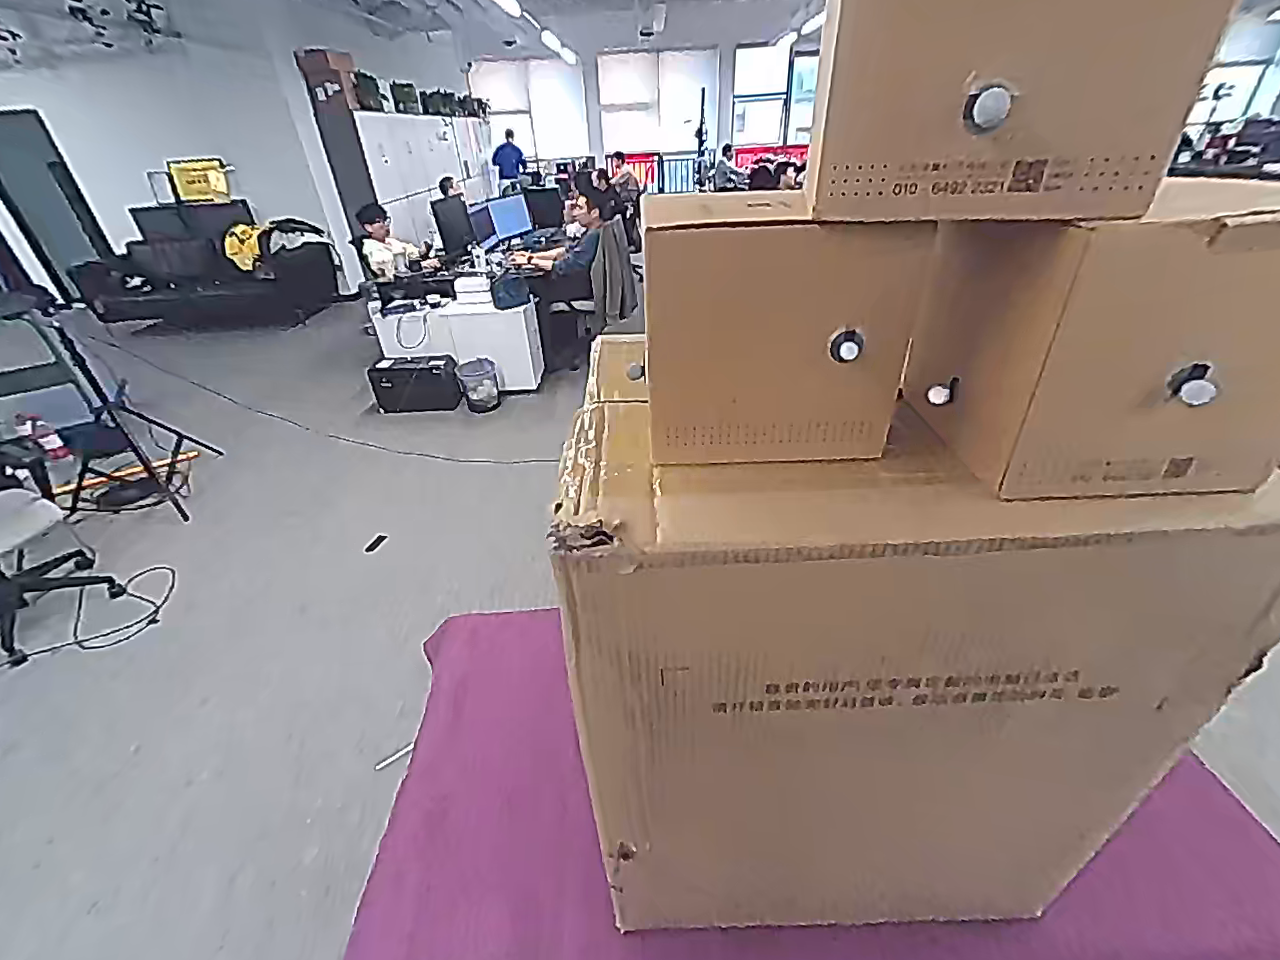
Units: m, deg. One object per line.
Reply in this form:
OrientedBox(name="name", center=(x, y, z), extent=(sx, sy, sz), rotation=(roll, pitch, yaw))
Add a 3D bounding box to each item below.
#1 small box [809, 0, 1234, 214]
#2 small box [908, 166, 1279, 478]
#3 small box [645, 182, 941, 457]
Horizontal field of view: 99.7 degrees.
OrientedBox(name="small box", center=(0.195, -0.258, 0.314), extent=(0.168, 0.176, 0.179), rotation=(5, 34, 12))
OrientedBox(name="small box", center=(0.313, -0.110, 0.377), extent=(0.168, 0.176, 0.179), rotation=(-2, 32, 3))
OrientedBox(name="small box", center=(0.093, -0.129, 0.424), extent=(0.179, 0.176, 0.168), rotation=(-3, 32, 1))
